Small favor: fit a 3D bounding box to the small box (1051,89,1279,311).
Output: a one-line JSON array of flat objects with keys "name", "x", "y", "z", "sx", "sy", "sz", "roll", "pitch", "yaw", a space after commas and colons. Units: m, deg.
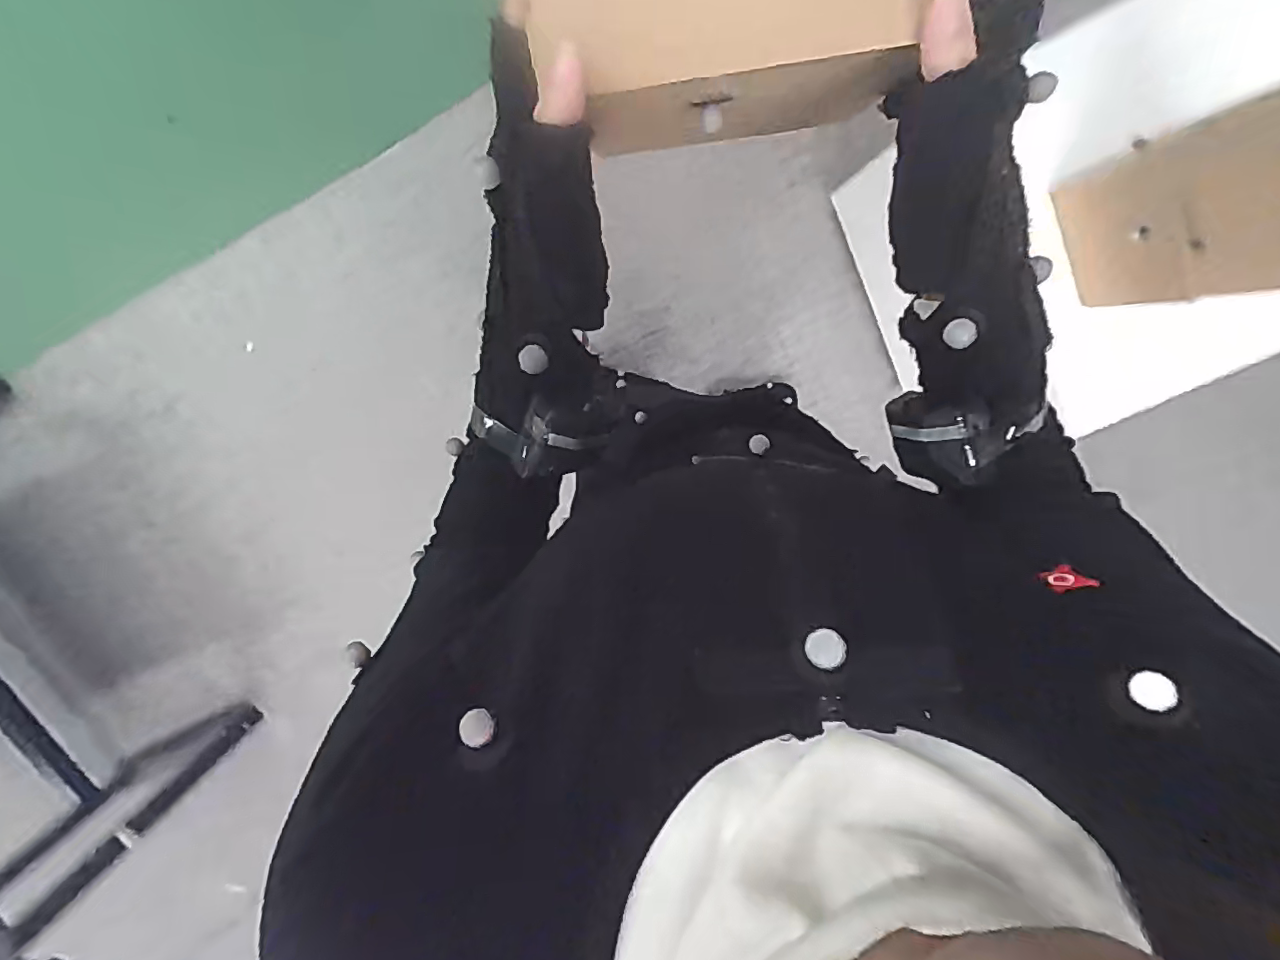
[{"name": "small box", "x": 0.646, "y": -0.319, "z": 0.652, "sx": 0.168, "sy": 0.176, "sz": 0.179, "roll": -25, "pitch": 103, "yaw": 9}]
